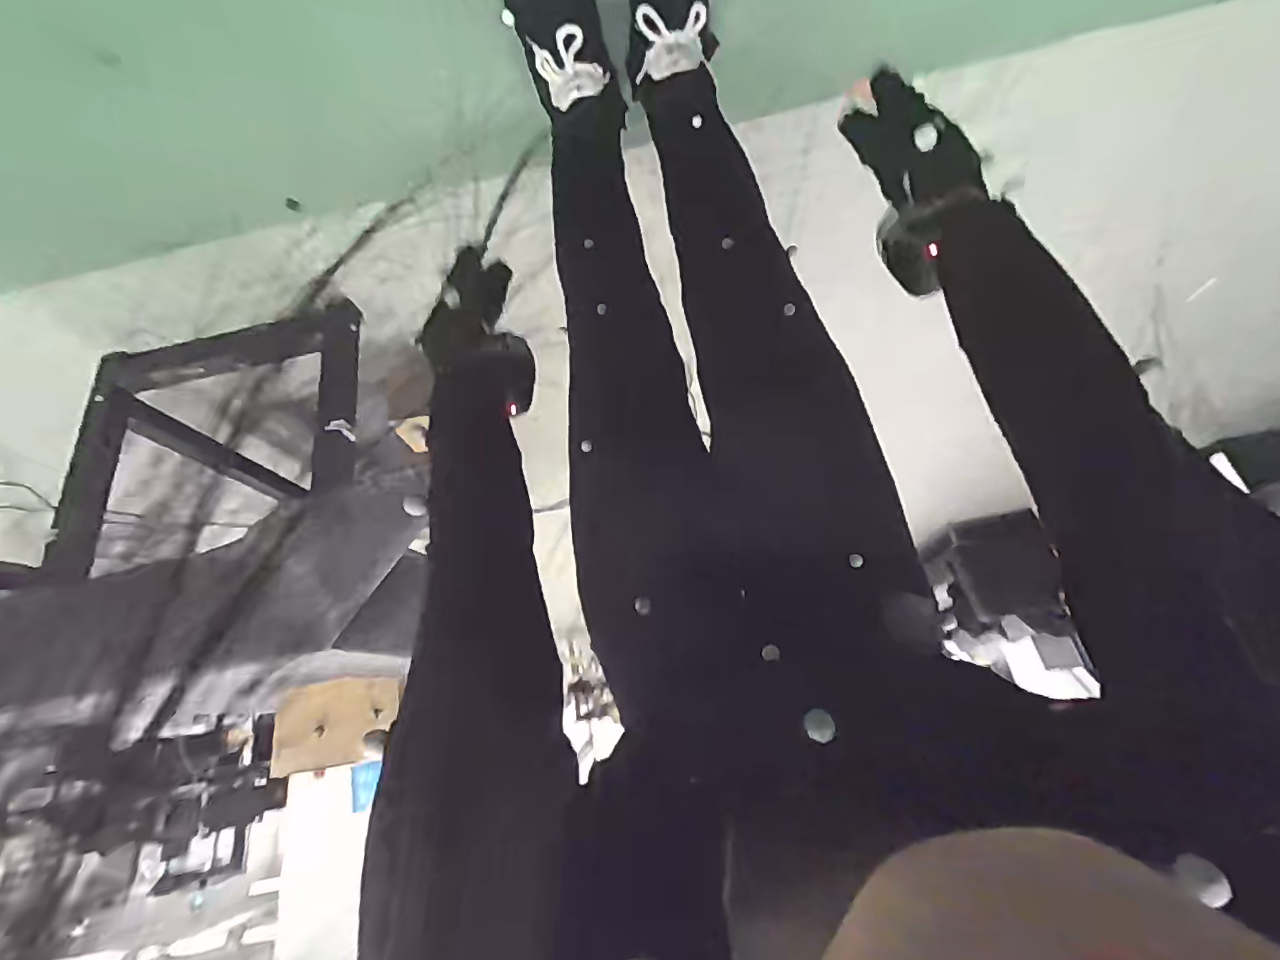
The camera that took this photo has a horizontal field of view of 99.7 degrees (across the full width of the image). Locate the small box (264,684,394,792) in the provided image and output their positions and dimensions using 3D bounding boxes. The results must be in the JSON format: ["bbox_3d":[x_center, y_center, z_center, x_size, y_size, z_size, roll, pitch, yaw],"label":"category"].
[{"bbox_3d":[-0.645,0.533,1.135,0.179,0.176,0.168,-13,156,4],"label":"small box"}]
